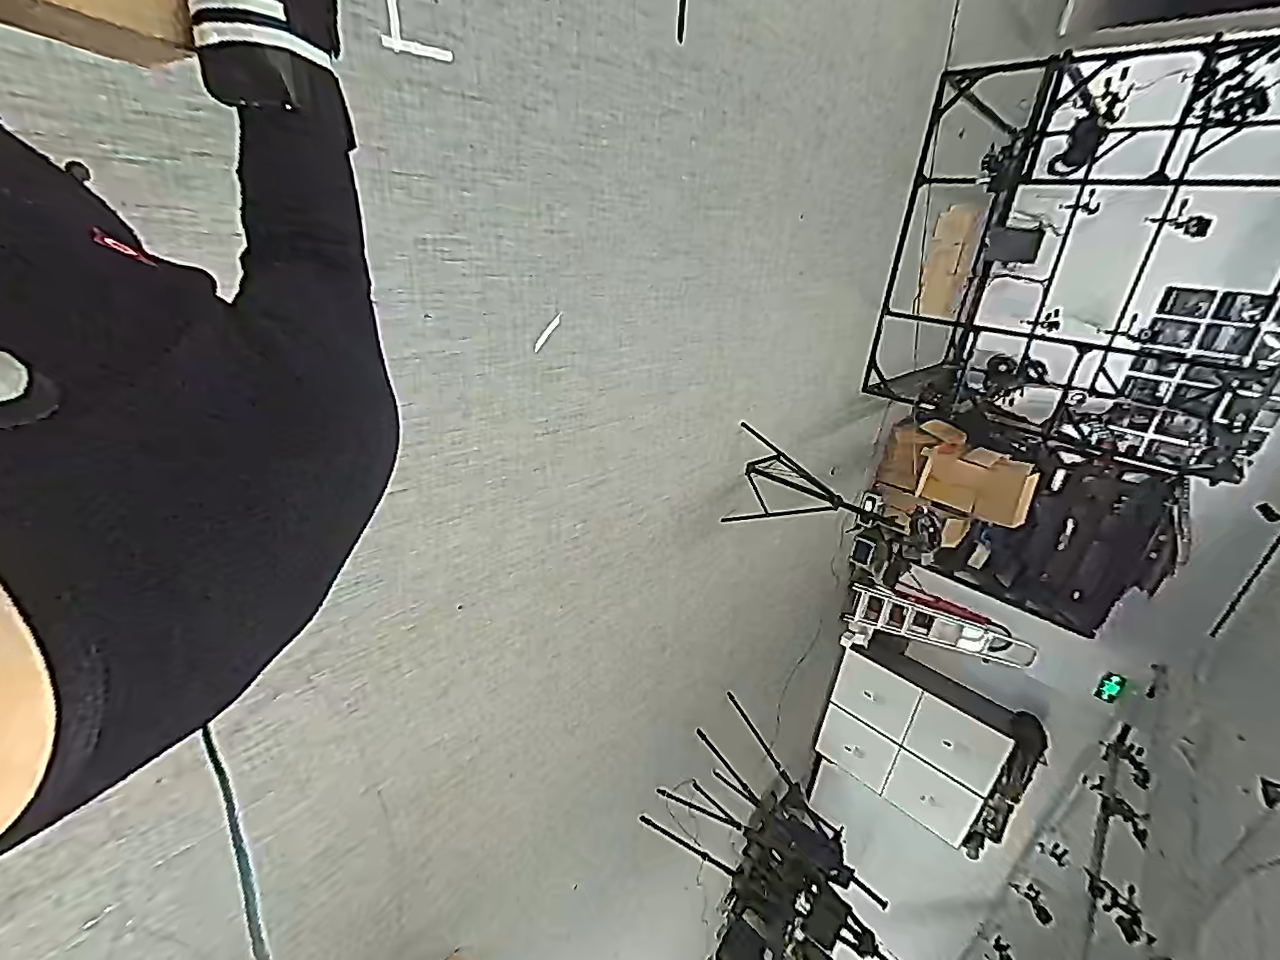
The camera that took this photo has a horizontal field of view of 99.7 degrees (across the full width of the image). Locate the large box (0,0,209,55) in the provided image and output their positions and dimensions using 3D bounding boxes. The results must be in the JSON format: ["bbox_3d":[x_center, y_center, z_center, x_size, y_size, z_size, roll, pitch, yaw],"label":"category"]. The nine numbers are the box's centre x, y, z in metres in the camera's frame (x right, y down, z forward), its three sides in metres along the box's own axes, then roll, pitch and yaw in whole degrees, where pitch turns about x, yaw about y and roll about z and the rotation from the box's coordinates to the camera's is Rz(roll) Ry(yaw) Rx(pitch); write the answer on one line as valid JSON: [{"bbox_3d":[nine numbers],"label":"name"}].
[{"bbox_3d":[-0.502,-0.470,0.259,0.408,0.320,0.320,-11,124,-45],"label":"large box"}]
